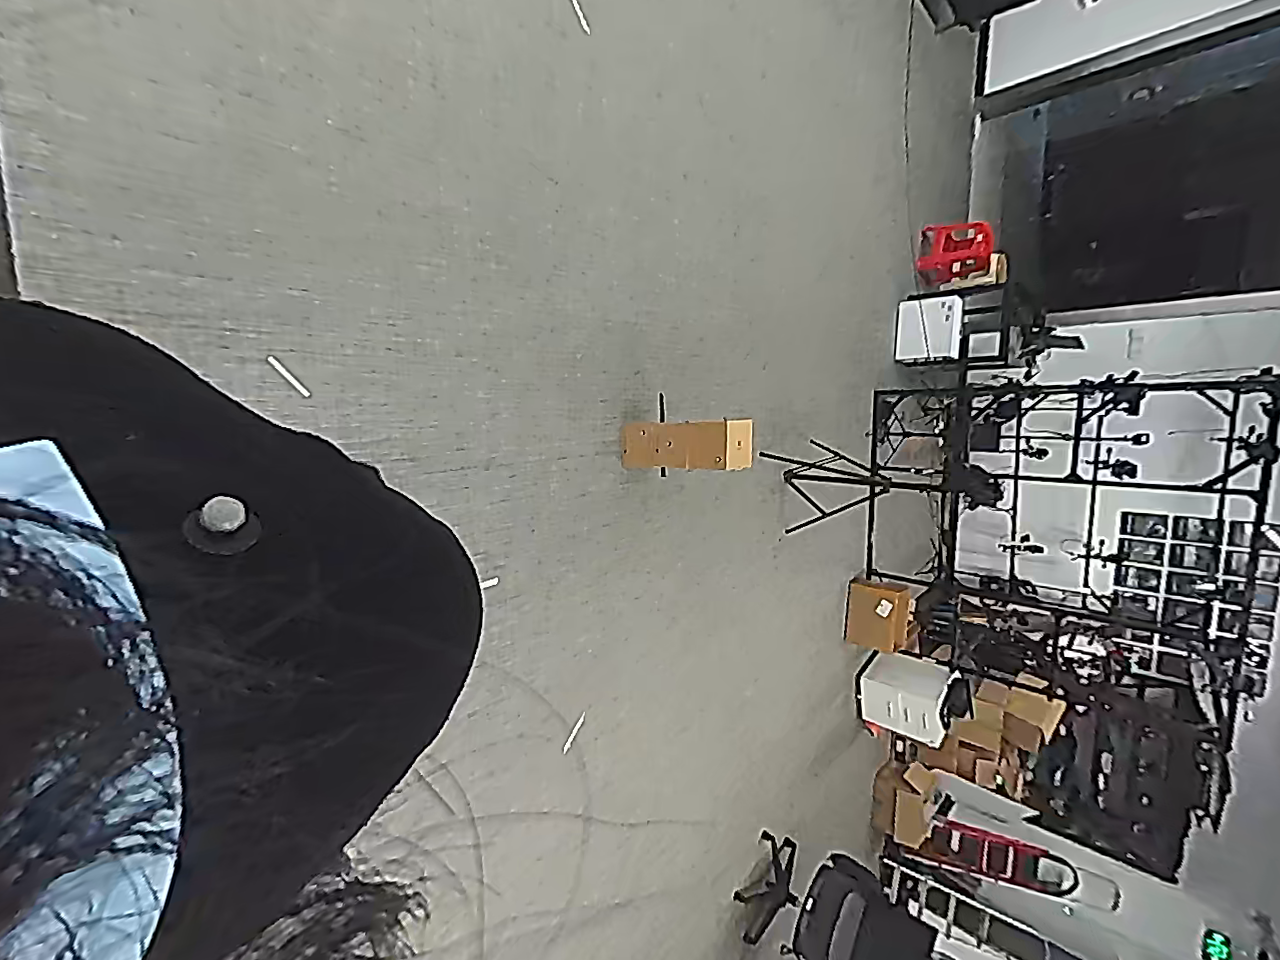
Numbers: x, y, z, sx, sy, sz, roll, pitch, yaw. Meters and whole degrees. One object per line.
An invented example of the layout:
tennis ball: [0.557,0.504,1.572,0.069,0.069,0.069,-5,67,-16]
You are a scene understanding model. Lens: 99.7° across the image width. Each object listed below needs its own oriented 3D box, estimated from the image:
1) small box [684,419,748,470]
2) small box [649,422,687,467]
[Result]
small box: [0.273,-0.131,1.952,0.168,0.176,0.179,-9,101,-47]
small box: [0.151,-0.134,2.060,0.179,0.176,0.168,-3,97,-48]
